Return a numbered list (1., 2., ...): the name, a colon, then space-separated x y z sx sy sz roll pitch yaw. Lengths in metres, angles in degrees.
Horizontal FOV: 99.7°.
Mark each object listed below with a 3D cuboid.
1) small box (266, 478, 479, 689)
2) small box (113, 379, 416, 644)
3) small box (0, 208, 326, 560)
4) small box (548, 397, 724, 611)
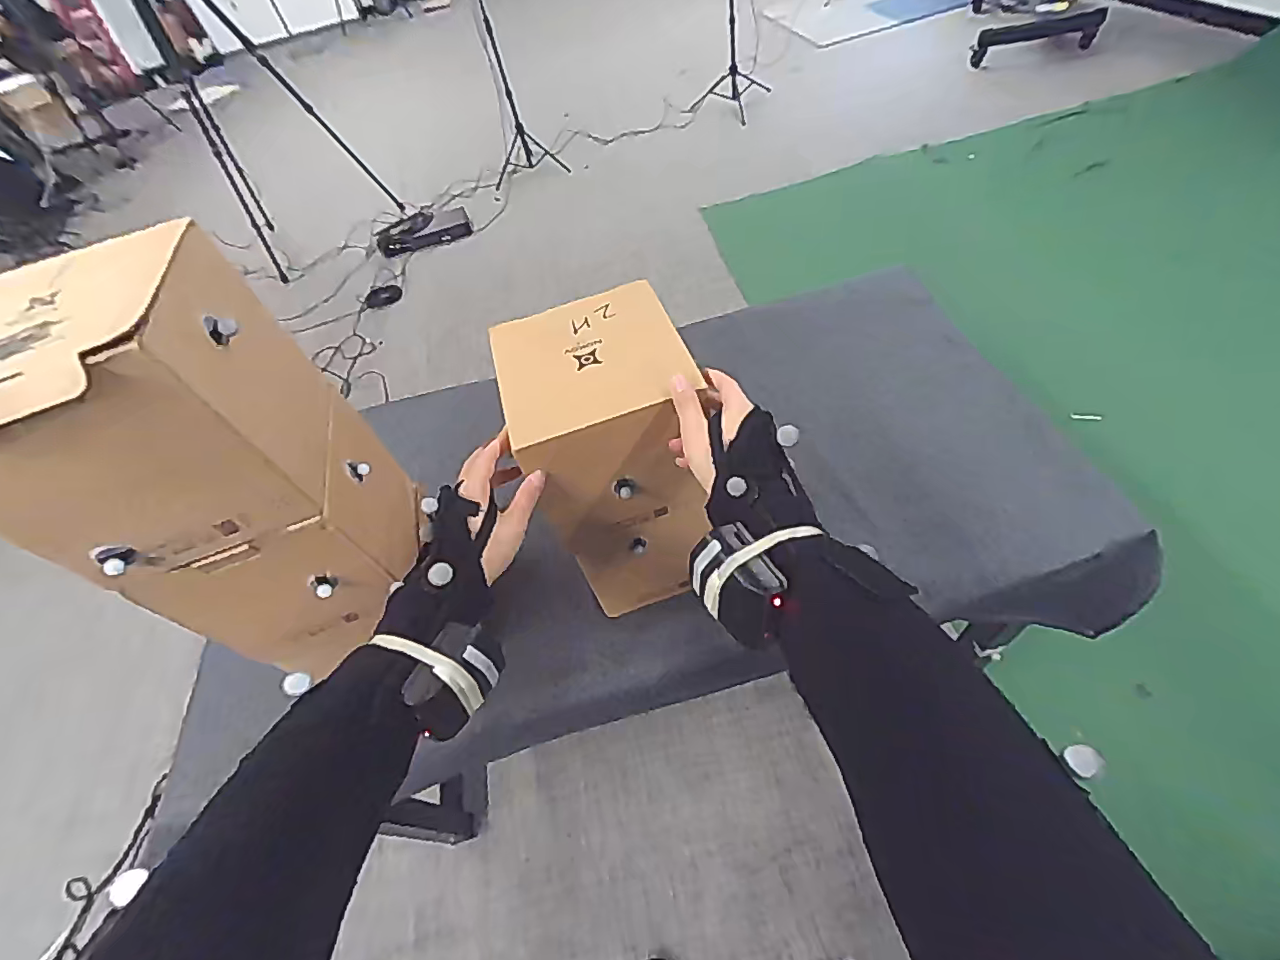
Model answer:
1. small box: -0.309 0.134 0.657 0.168 0.176 0.179 -20 51 -4
2. small box: -0.336 0.039 0.528 0.168 0.176 0.179 -20 50 -6
3. small box: -0.361 -0.062 0.400 0.168 0.176 0.179 -21 51 -6
4. small box: -0.002 0.032 0.673 0.168 0.176 0.179 -18 51 -3
